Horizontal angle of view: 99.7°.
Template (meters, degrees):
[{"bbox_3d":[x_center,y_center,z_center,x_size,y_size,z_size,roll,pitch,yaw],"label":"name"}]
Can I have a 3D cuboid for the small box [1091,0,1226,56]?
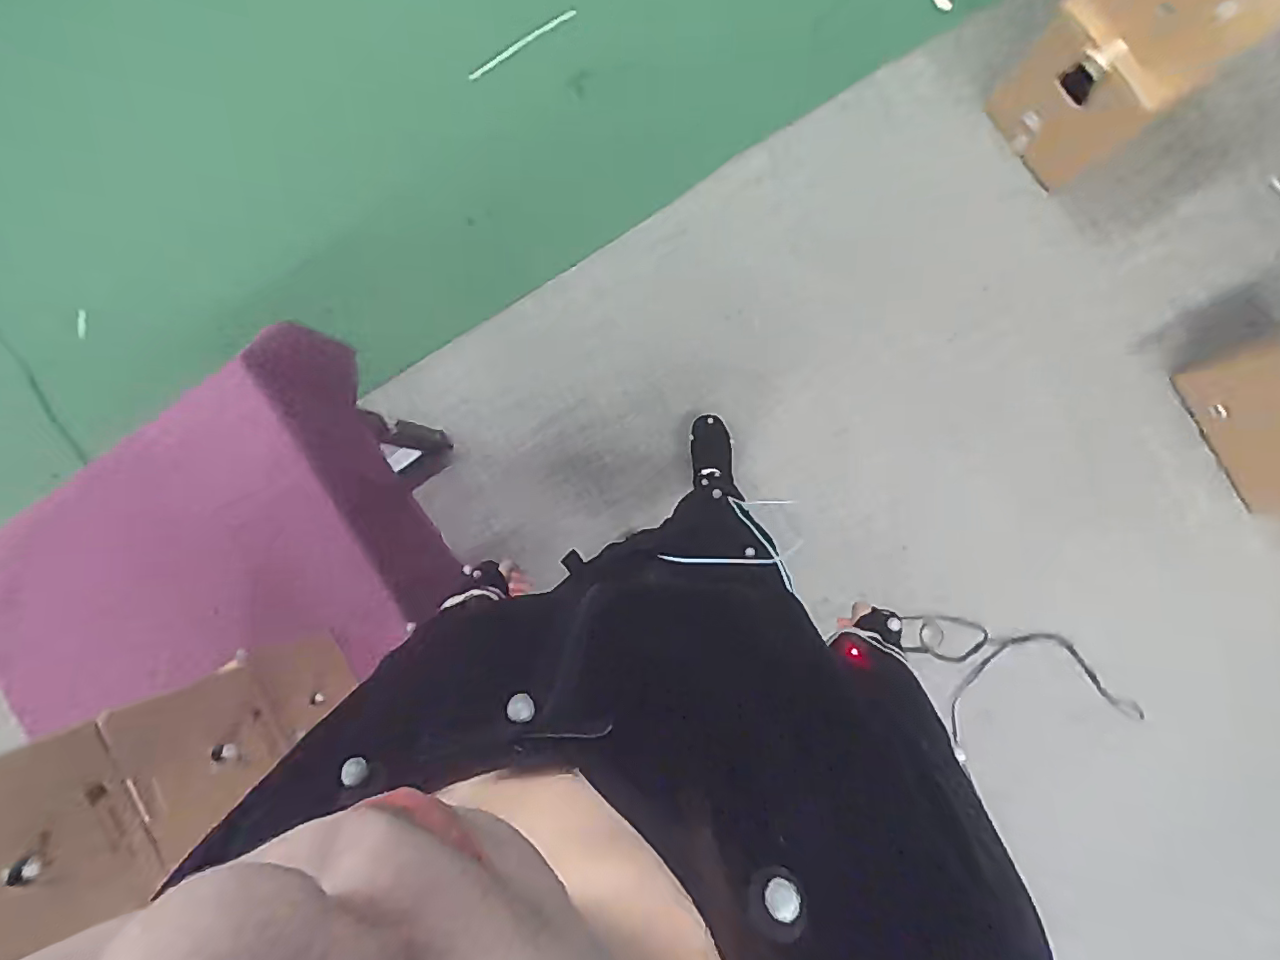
[{"bbox_3d":[1.077,-1.002,1.080,0.168,0.176,0.179,-34,84,1],"label":"small box"}]

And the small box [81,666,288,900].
[{"bbox_3d":[-0.508,0.320,0.557,0.179,0.176,0.168,-28,86,2],"label":"small box"}]

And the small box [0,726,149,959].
[{"bbox_3d":[-0.518,0.316,0.392,0.179,0.176,0.168,-30,86,3],"label":"small box"}]

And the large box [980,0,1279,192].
[{"bbox_3d":[1.162,-1.013,1.321,0.408,0.320,0.320,-33,86,1],"label":"large box"}]
